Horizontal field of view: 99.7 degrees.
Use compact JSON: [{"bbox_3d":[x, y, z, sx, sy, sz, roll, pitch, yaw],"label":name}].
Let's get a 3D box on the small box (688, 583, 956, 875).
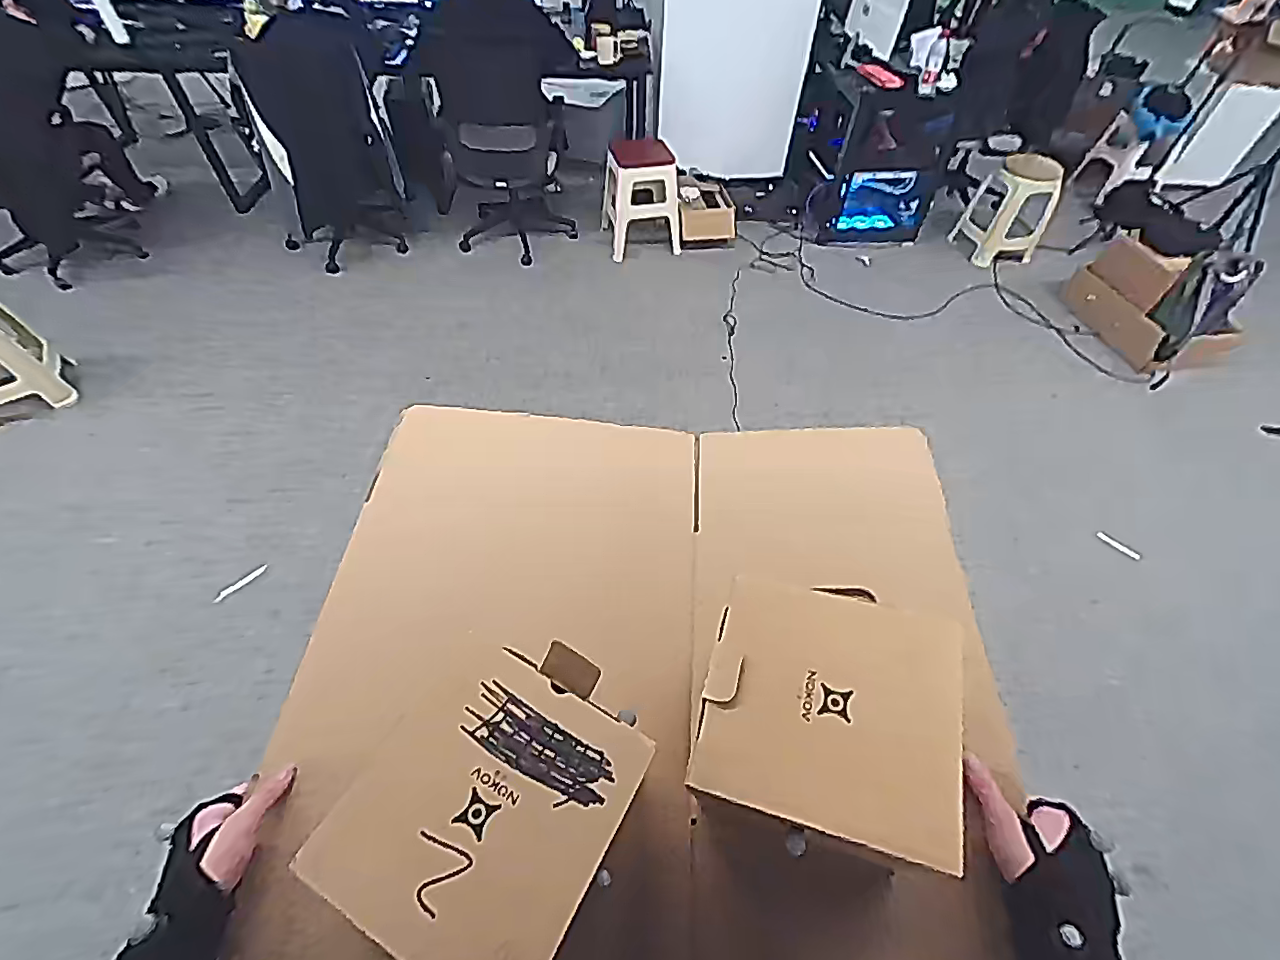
[{"bbox_3d":[0.152,0.212,0.469,0.179,0.176,0.168,9,59,17],"label":"small box"}]
